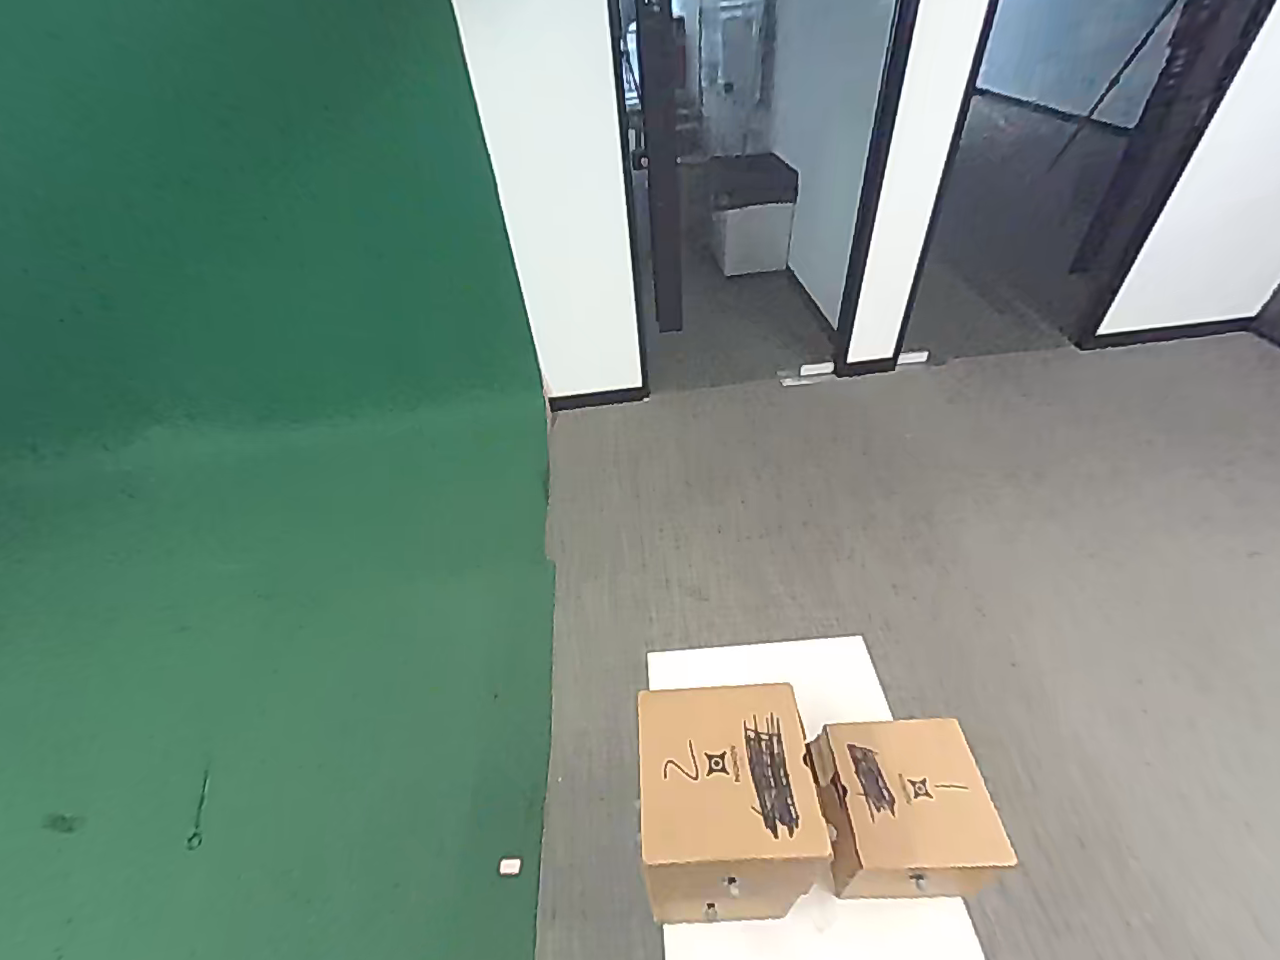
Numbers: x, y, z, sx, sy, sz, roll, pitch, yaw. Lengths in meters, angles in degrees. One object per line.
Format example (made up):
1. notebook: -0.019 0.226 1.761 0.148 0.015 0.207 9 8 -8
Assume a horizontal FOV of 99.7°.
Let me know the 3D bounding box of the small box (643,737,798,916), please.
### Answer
1. small box: 0.098 0.464 0.723 0.179 0.176 0.168 -4 44 1

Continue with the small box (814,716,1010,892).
1. small box: 0.341 0.436 0.726 0.179 0.176 0.168 -4 43 3
